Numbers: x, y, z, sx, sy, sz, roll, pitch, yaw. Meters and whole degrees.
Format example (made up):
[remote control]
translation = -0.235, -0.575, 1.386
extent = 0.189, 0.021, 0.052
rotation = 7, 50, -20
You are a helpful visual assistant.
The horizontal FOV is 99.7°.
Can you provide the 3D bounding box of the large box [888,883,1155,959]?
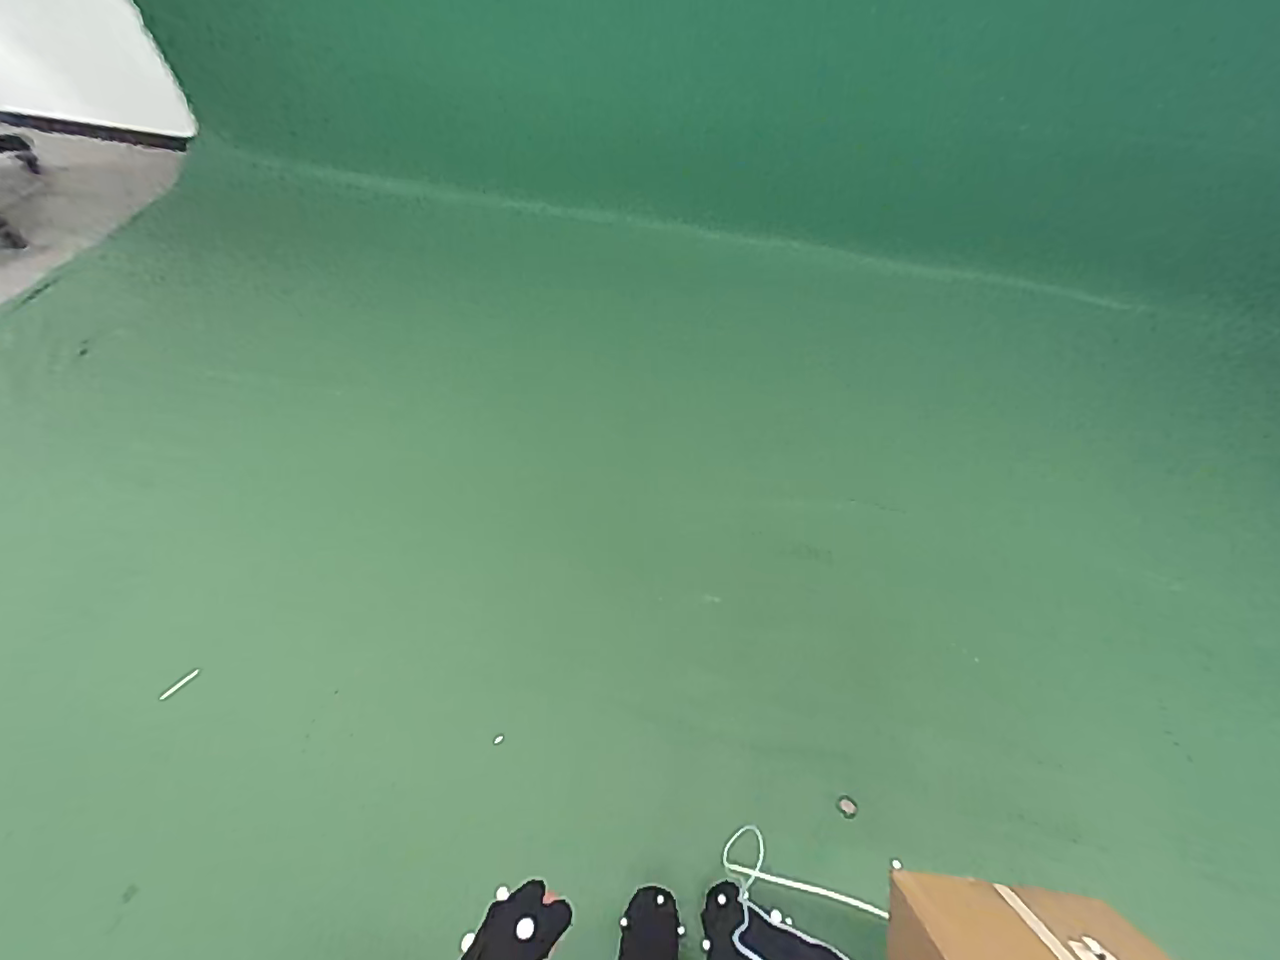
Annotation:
[large box]
translation = 0.511, 0.759, 0.610
extent = 0.320, 0.408, 0.320
rotation = 6, 84, 4
